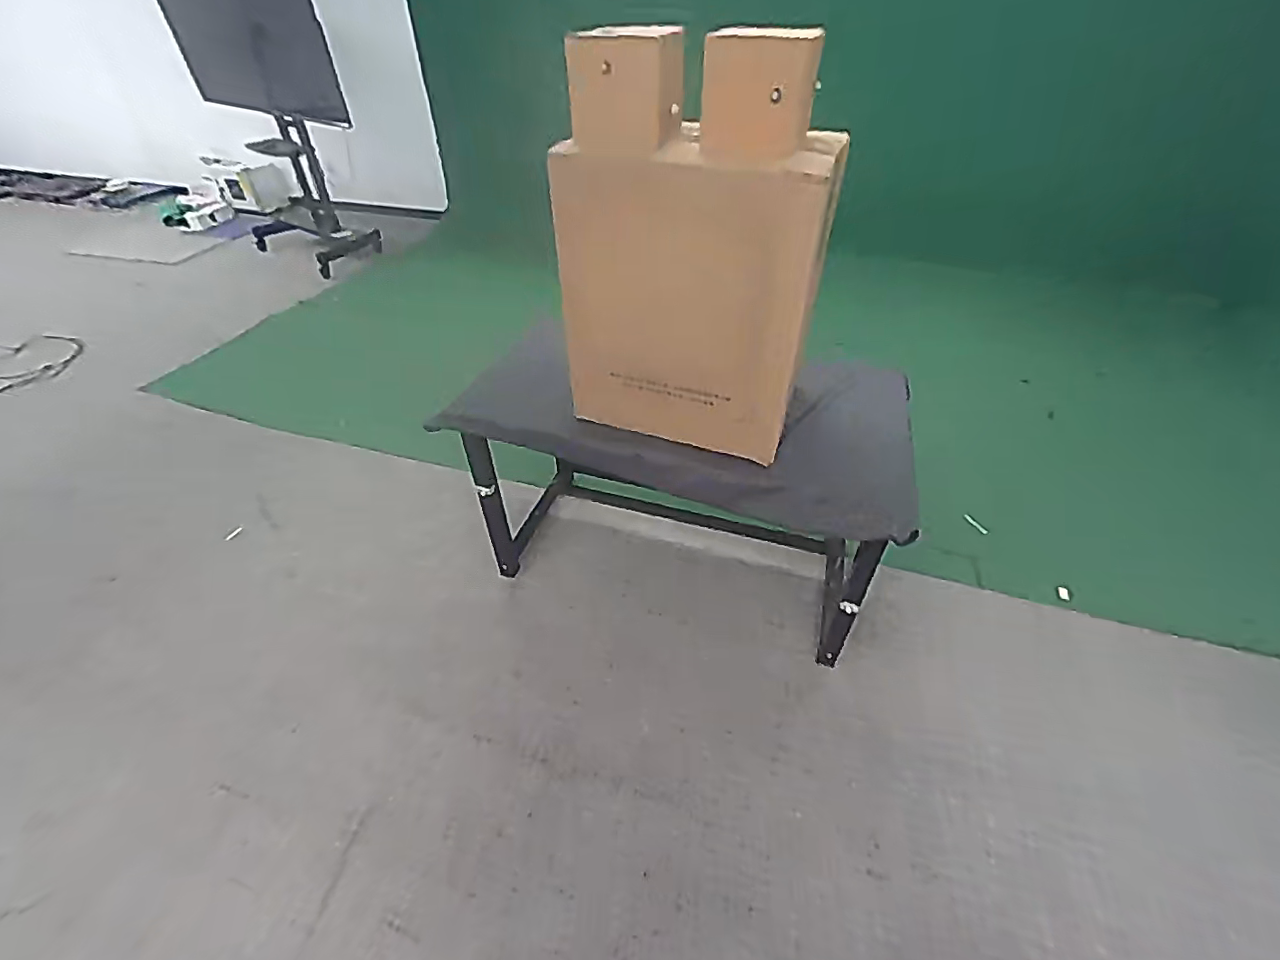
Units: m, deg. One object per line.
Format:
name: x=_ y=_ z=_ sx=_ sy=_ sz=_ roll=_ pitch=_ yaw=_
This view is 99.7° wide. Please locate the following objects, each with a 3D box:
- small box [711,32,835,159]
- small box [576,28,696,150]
small box: x=0.238 y=-0.697 z=0.982 sx=0.179 sy=0.176 sz=0.168 roll=14 pitch=45 yaw=17
small box: x=-0.001 y=-0.753 z=1.044 sx=0.179 sy=0.176 sz=0.168 roll=15 pitch=48 yaw=18
